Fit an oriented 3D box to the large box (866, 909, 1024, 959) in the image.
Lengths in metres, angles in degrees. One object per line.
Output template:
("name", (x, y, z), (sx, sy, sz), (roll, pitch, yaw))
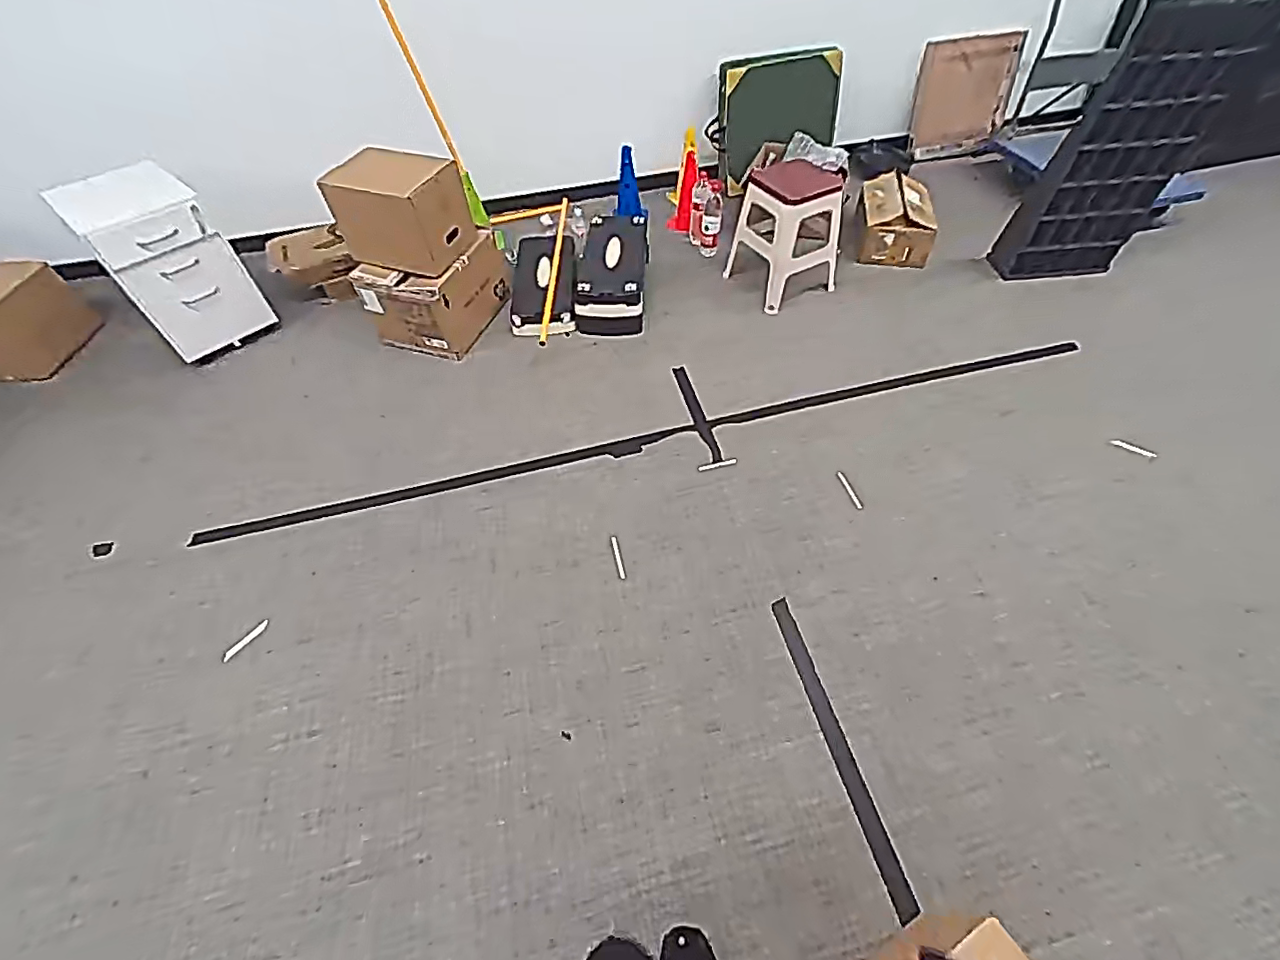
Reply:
("large box", (0.492, 0.993, 0.877), (0.408, 0.320, 0.320), (-26, 55, -16))
